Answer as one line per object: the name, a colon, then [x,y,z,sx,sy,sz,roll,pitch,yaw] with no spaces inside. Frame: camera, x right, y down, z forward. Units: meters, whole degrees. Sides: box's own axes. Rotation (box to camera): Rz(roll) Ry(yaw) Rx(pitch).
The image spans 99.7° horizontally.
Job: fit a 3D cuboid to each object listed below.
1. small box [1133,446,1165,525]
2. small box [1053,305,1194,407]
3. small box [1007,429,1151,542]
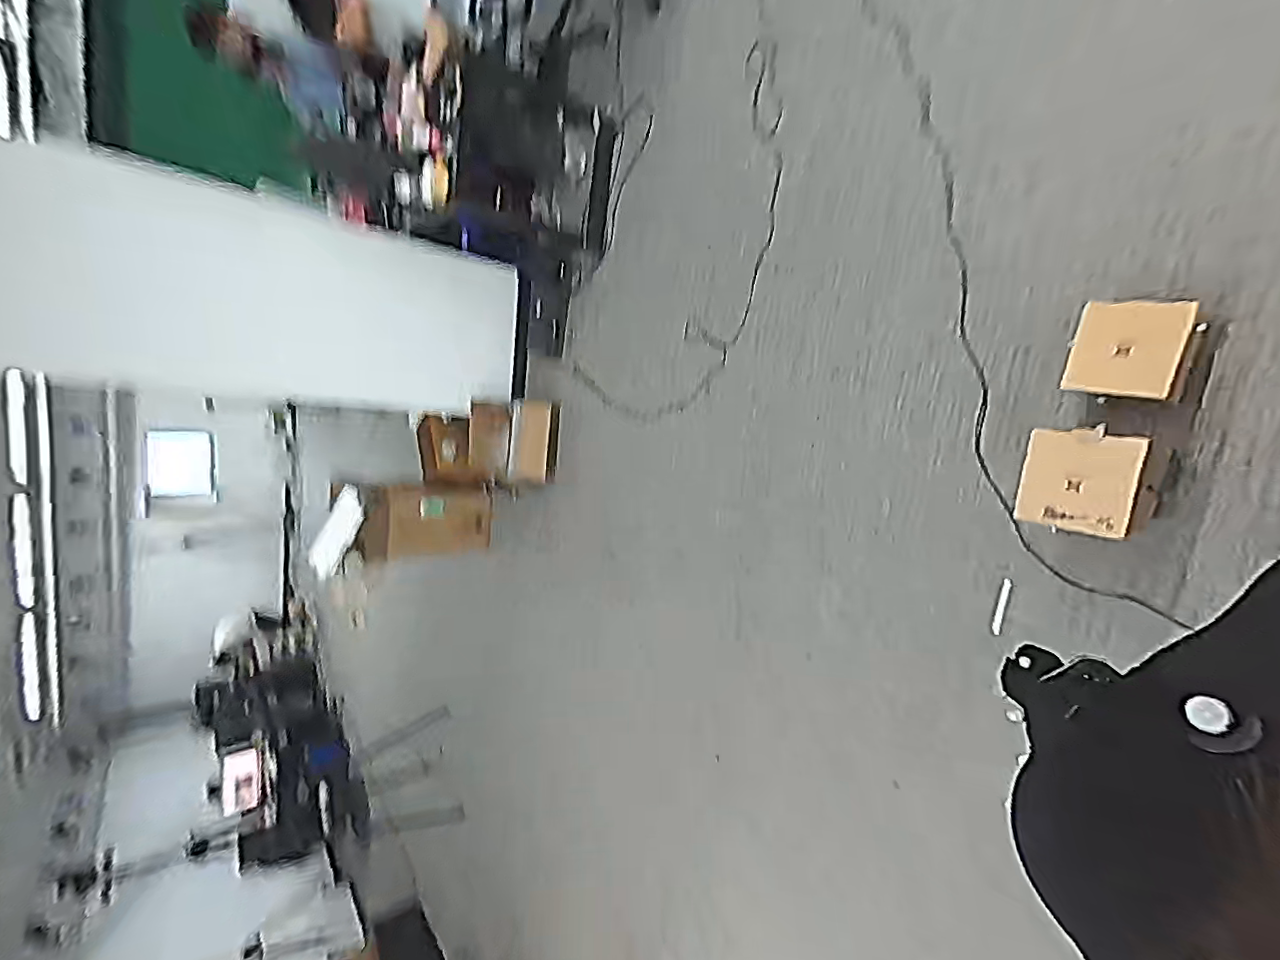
small box: [0.948,-0.001,1.127,0.179,0.176,0.168,18,105,47]
small box: [0.978,-0.247,1.092,0.168,0.176,0.179,21,105,47]
small box: [0.826,0.004,1.016,0.168,0.176,0.179,17,104,48]
